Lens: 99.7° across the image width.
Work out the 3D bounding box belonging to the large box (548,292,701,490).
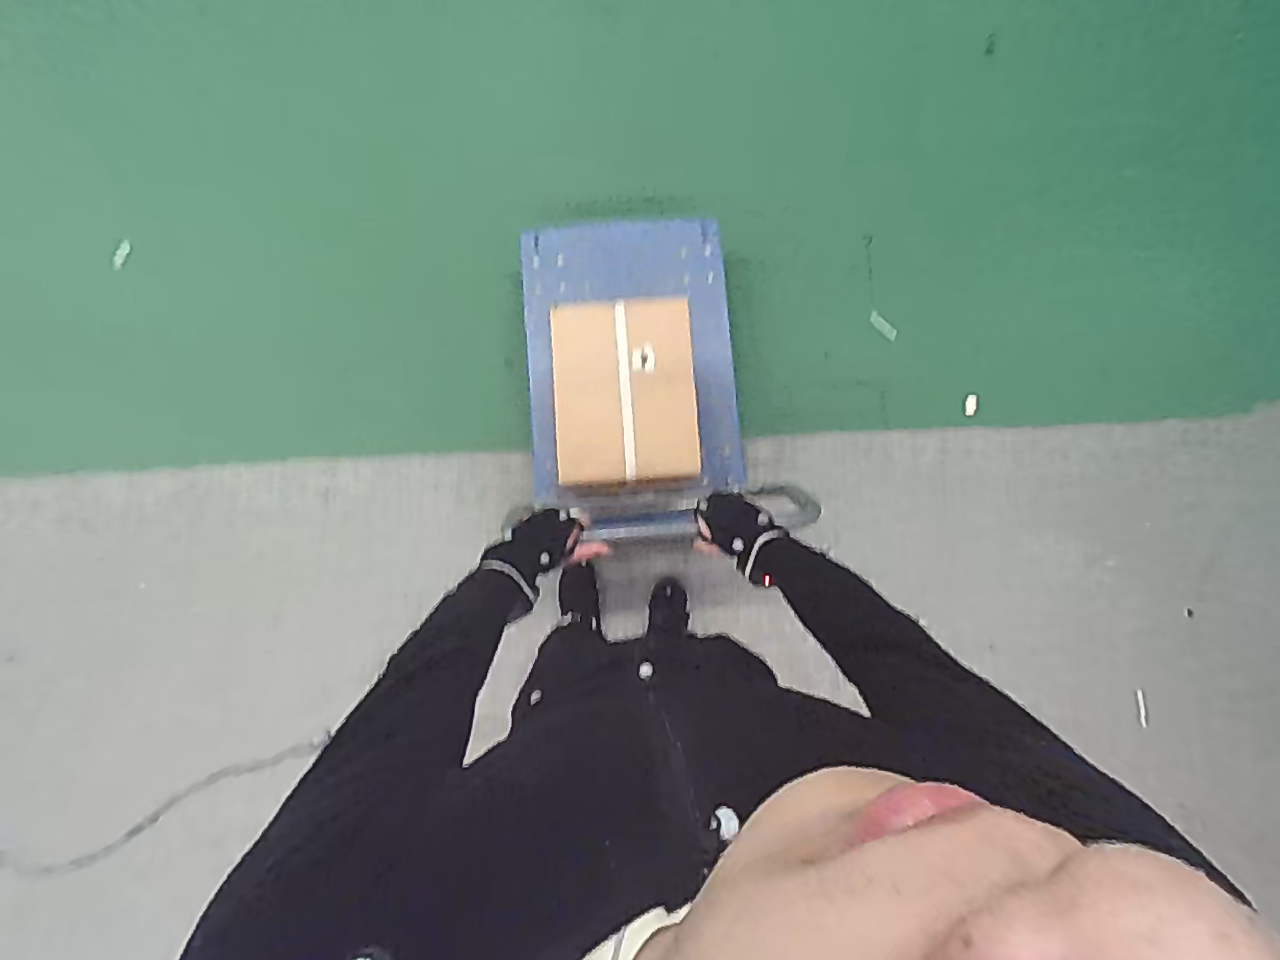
[{"bbox_3d":[-0.039,-0.196,1.333,0.320,0.320,0.408,-4,84,-2],"label":"large box"}]
